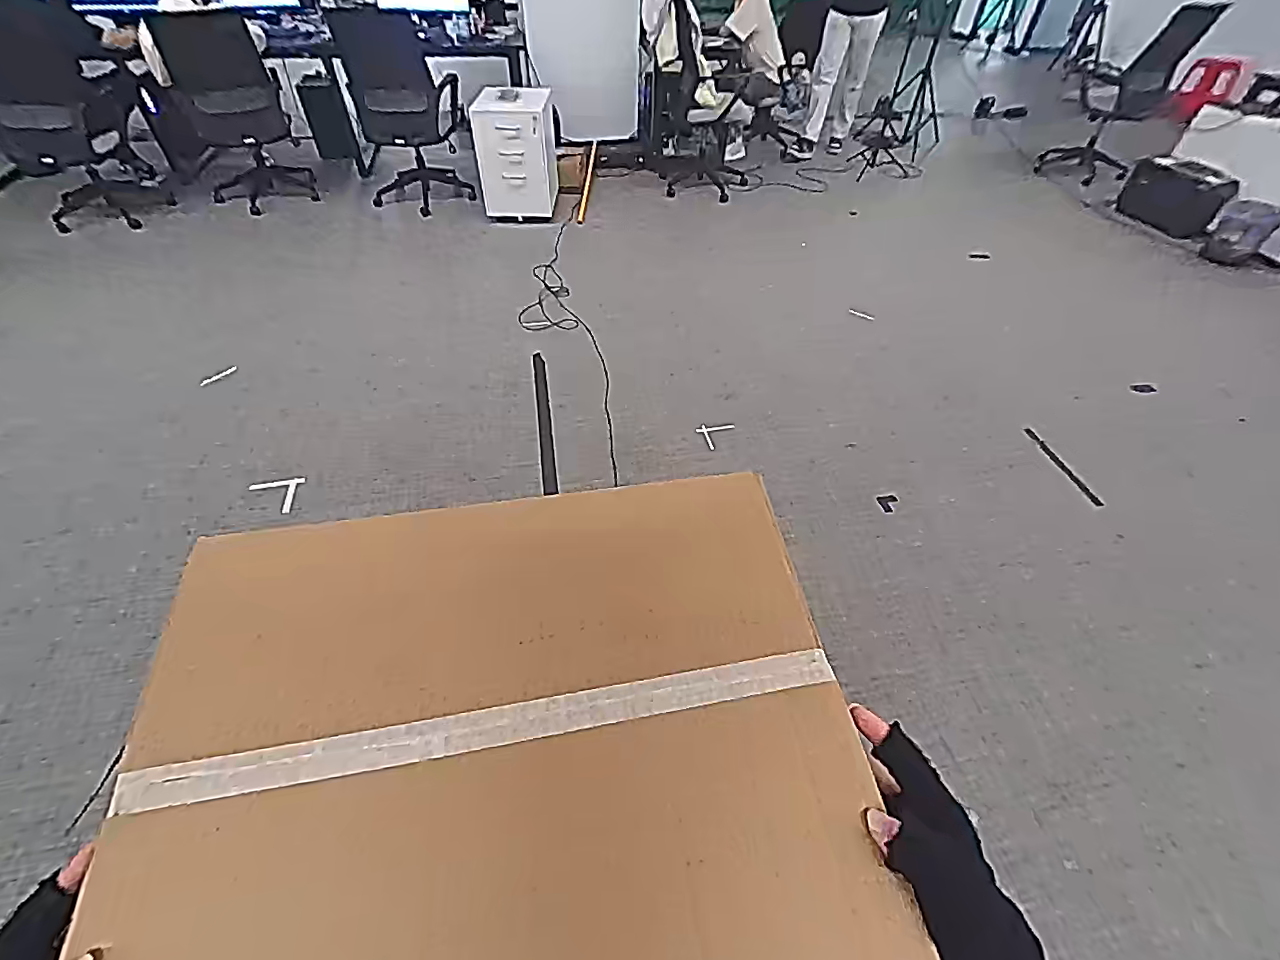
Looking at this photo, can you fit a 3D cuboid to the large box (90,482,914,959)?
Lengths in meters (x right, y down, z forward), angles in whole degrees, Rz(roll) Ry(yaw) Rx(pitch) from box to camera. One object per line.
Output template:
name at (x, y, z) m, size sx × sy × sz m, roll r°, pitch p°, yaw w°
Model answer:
large box at (-0.086, 0.235, 0.448) m, size 0.408 × 0.320 × 0.320 m, roll -7°, pitch 55°, yaw -8°
